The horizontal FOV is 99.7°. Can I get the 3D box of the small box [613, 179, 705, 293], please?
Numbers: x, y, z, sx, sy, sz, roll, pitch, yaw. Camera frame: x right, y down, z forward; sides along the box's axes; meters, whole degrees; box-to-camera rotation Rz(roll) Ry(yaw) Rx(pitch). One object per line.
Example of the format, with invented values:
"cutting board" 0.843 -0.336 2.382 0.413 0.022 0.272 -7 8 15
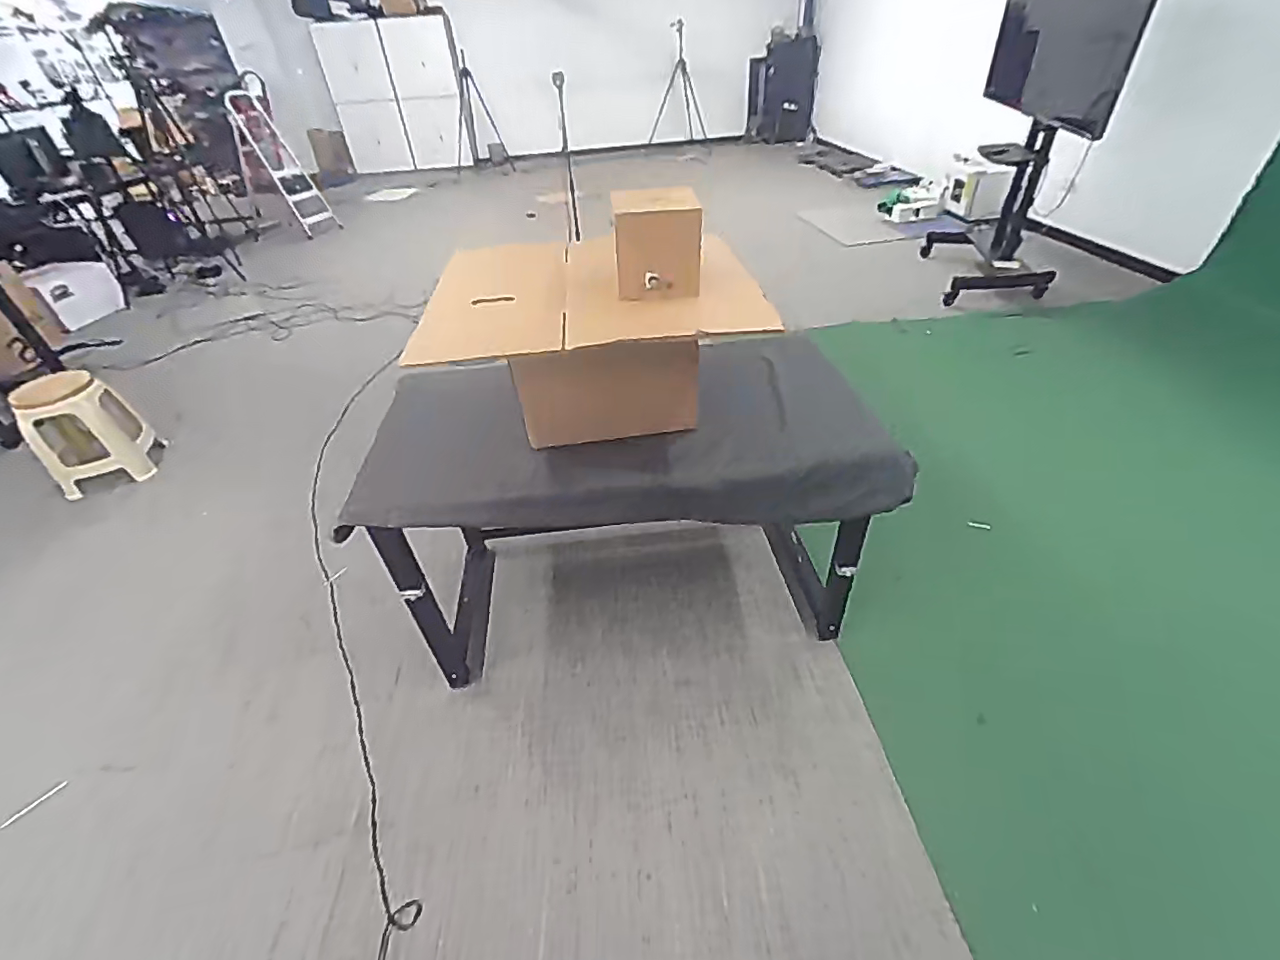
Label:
"small box" 0.033 -0.489 1.086 0.168 0.176 0.179 -5 41 -2
